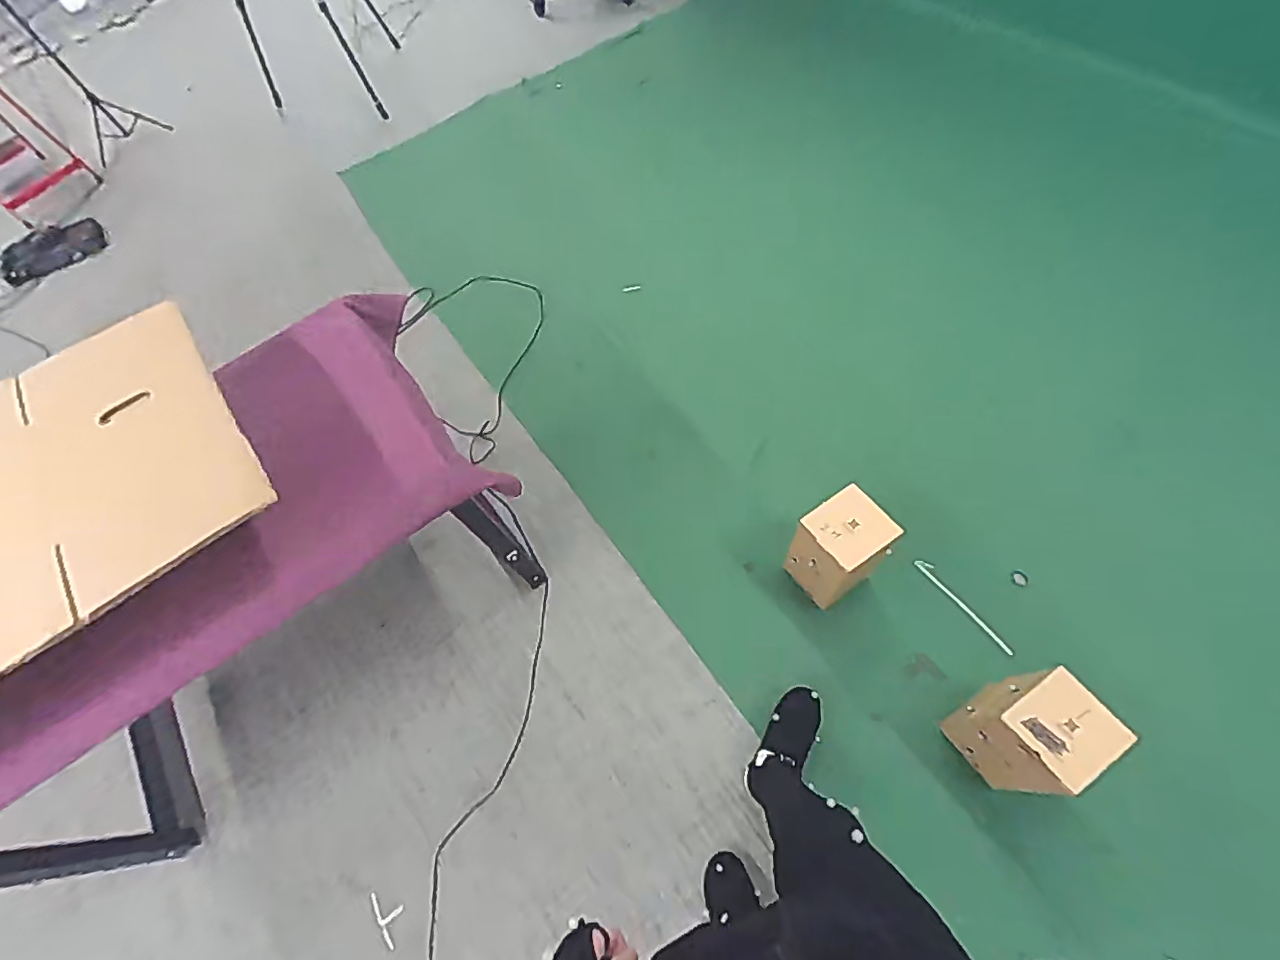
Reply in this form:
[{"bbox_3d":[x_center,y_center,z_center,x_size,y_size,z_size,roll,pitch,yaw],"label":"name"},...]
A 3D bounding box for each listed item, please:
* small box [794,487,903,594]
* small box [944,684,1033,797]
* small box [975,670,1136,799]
[{"bbox_3d":[0.507,0.155,1.343,0.179,0.176,0.168,-32,62,-10],"label":"small box"},{"bbox_3d":[0.847,0.596,1.249,0.179,0.176,0.168,-34,63,-10],"label":"small box"},{"bbox_3d":[0.827,0.520,1.104,0.179,0.176,0.168,-32,64,-10],"label":"small box"}]
